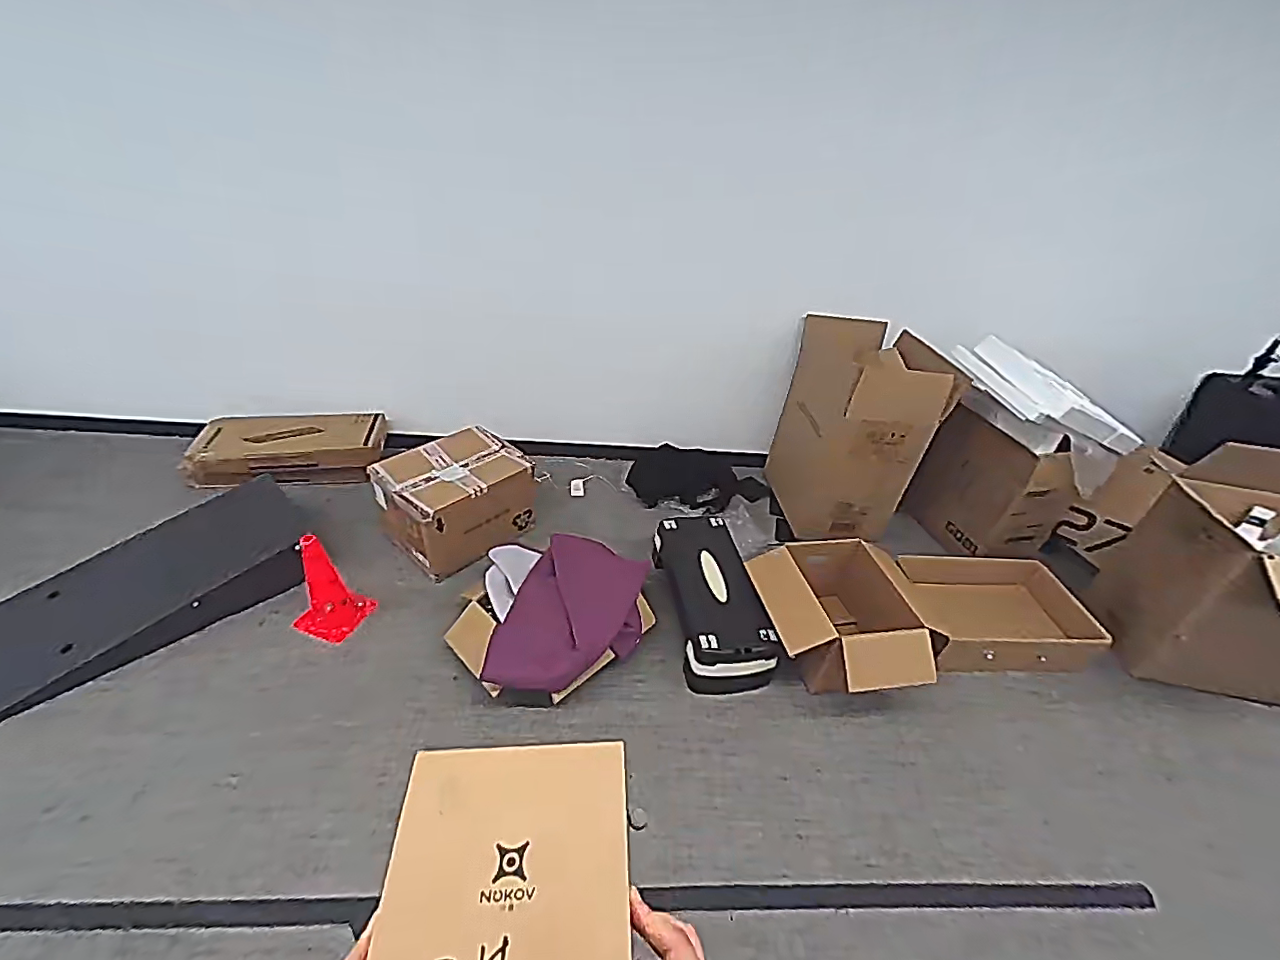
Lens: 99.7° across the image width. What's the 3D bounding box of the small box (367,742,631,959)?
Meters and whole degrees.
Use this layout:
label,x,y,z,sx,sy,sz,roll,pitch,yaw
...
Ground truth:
label,x,y,z,sx,sy,sz,roll,pitch,yaw
small box,-0.091,0.332,0.422,0.168,0.176,0.179,-2,41,-3
